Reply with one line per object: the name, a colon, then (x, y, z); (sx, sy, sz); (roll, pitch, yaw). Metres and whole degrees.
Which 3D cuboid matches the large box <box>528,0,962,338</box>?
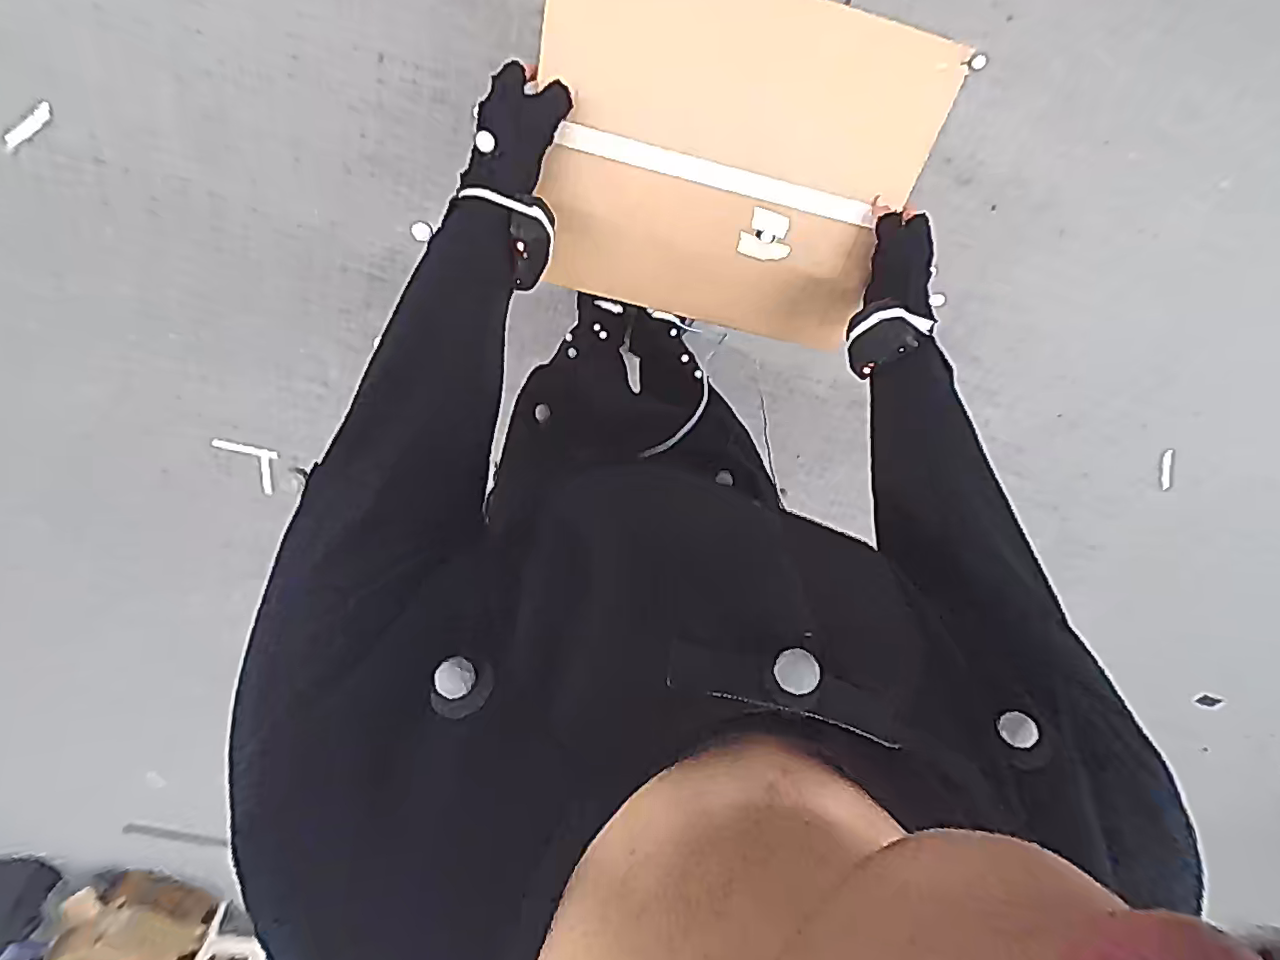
large box: (0.092, -0.425, 0.711); (0.408, 0.320, 0.320); (12, 125, -7)
